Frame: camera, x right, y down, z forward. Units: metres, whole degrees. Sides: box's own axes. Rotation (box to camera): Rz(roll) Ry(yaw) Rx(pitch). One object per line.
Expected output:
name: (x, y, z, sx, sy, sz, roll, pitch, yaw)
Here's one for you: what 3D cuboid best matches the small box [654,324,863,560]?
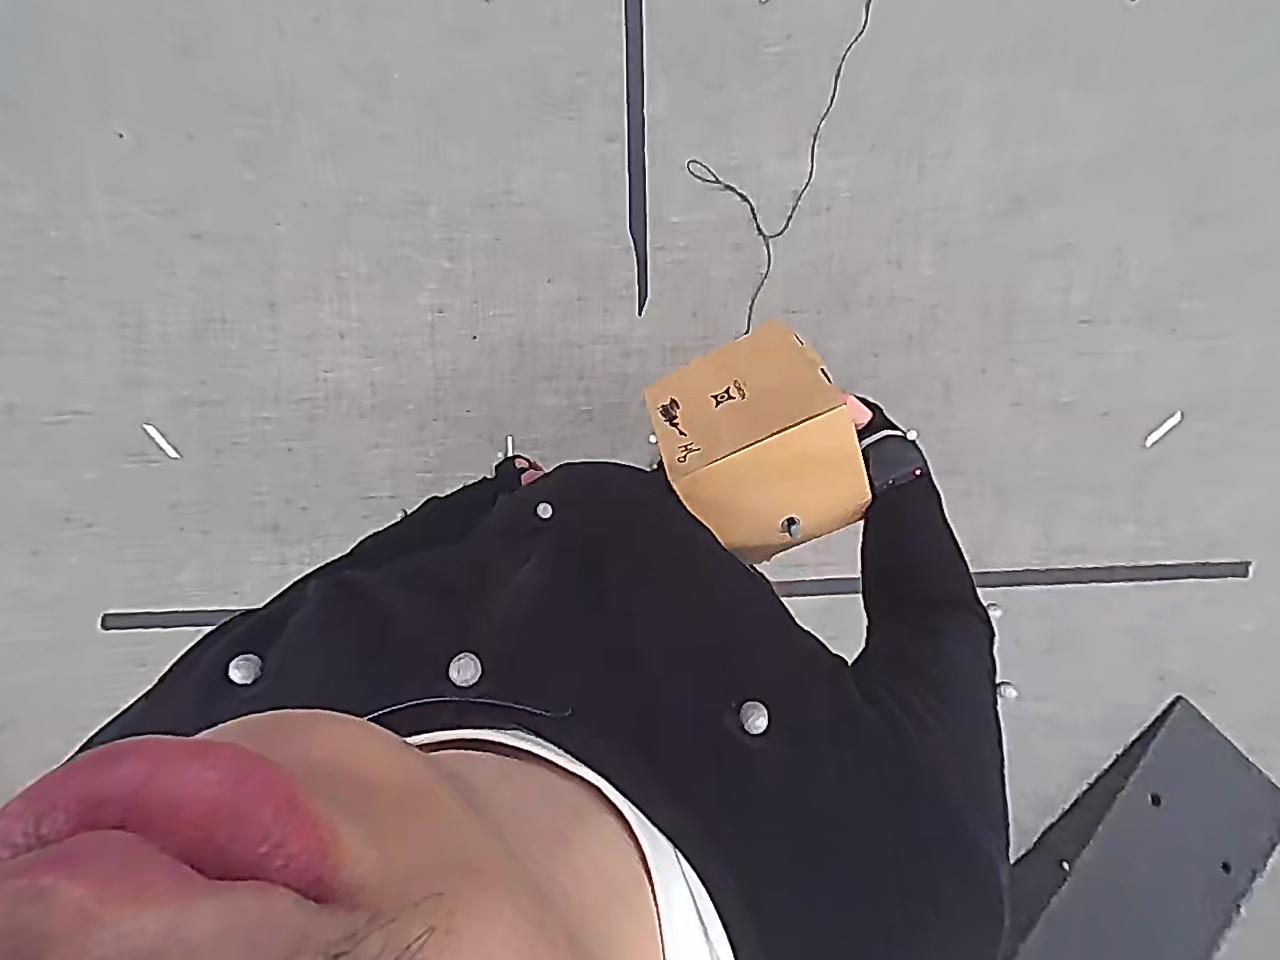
small box: (0.137, -0.039, 0.620, 0.179, 0.168, 0.176, -24, 130, 11)
